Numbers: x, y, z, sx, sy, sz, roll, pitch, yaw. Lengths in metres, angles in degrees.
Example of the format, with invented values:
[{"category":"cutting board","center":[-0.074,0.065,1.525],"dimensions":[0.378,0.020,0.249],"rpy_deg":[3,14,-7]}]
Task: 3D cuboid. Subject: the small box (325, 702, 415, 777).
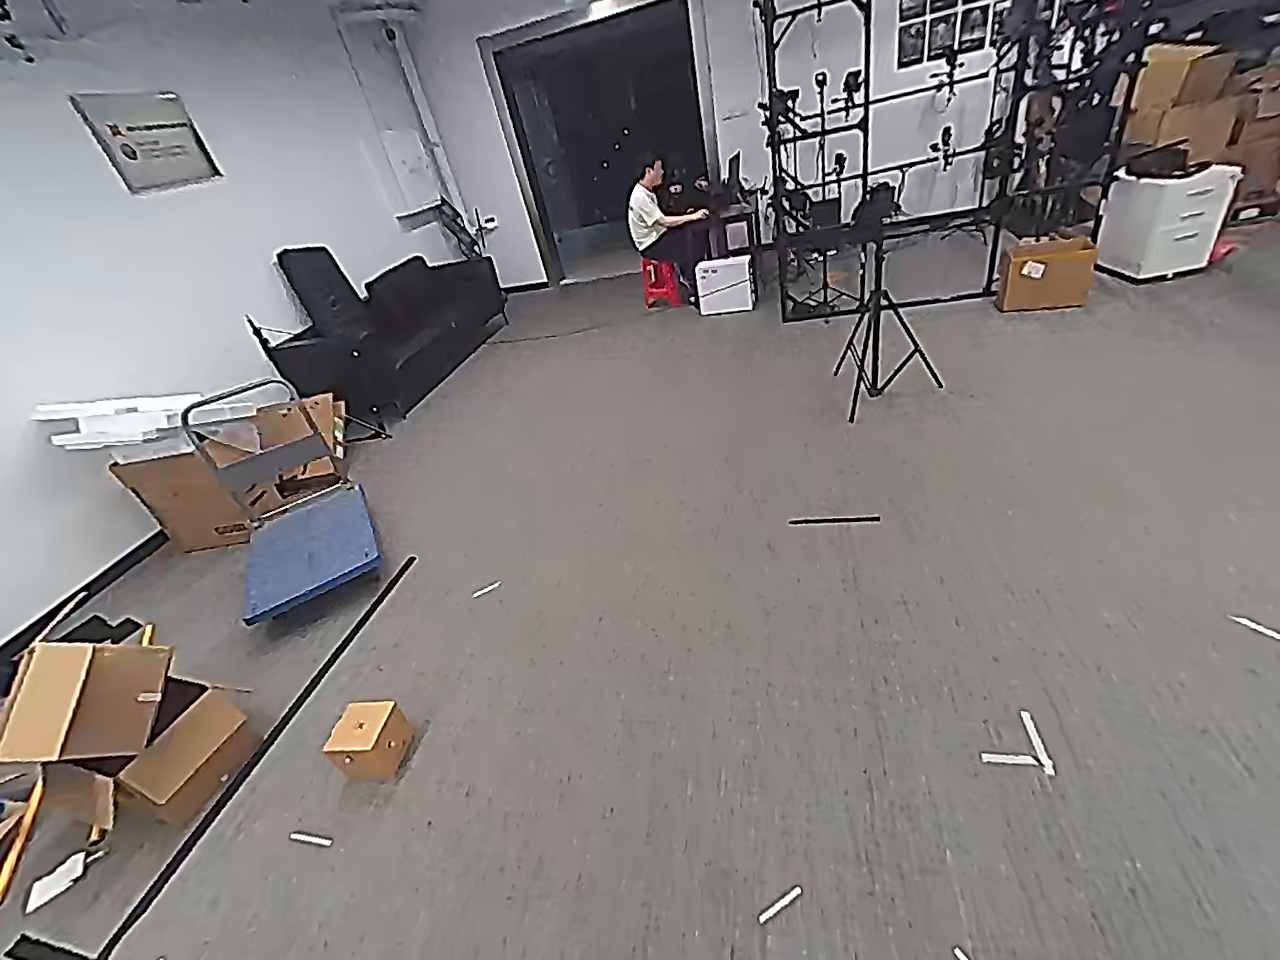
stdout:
[{"category":"small box","center":[-0.868,0.846,1.761],"dimensions":[0.179,0.176,0.168],"rpy_deg":[-7,34,11]}]
